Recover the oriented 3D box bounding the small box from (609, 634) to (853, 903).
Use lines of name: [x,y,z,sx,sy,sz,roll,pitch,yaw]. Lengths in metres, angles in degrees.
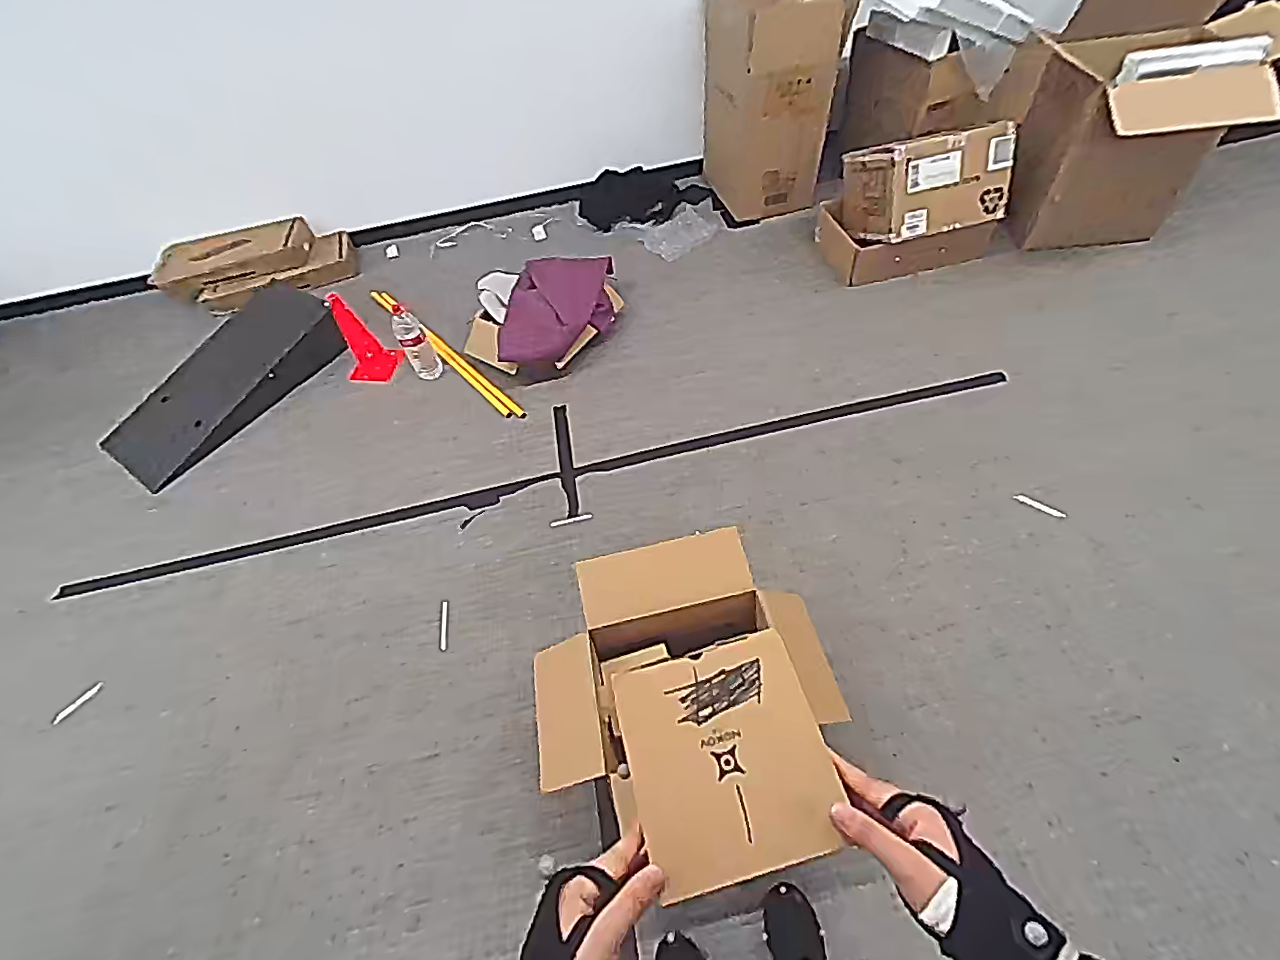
small box: [0.074,0.278,0.526,0.168,0.176,0.179,-15,56,-4]
